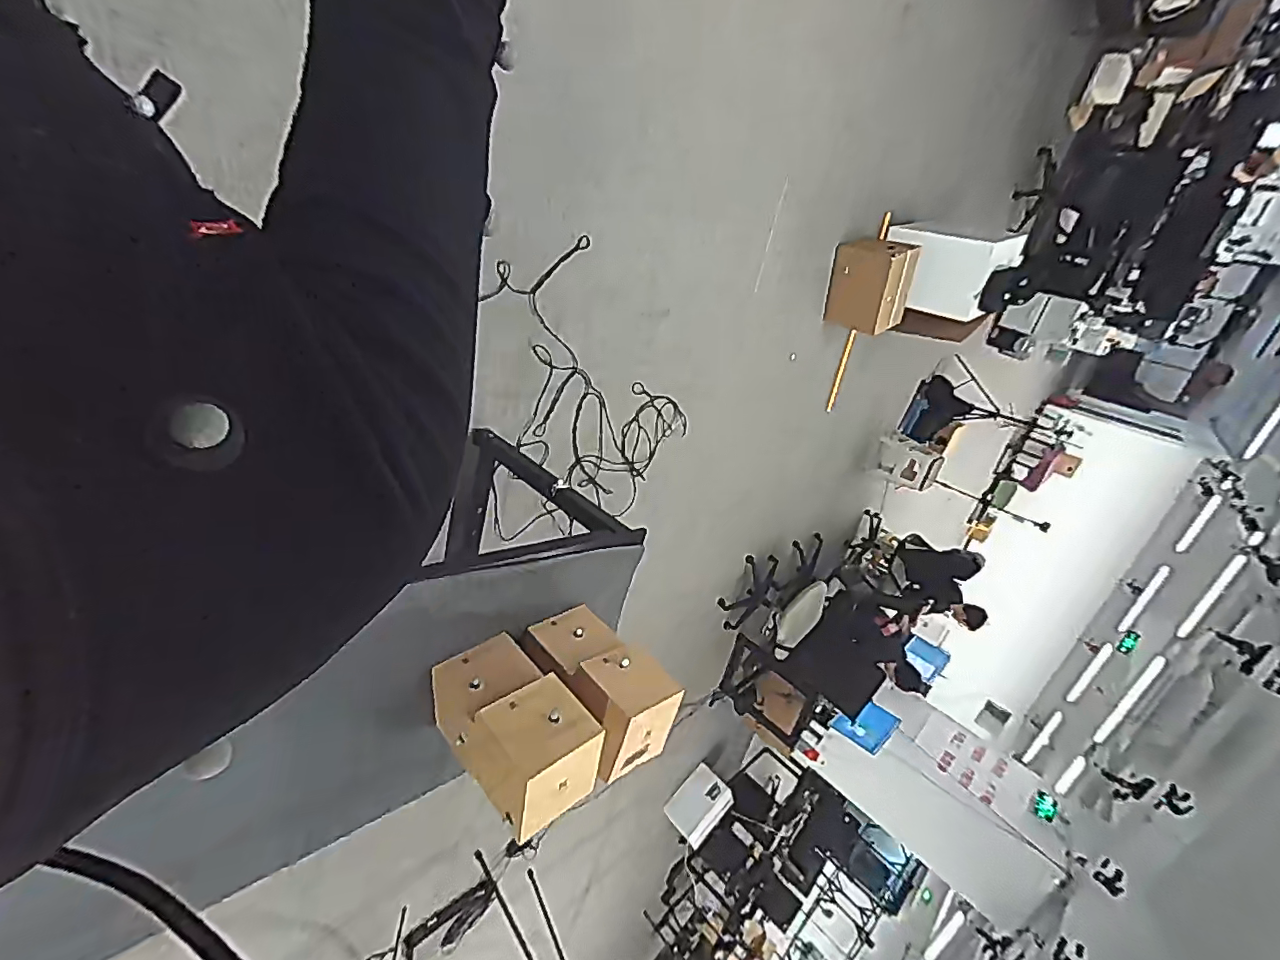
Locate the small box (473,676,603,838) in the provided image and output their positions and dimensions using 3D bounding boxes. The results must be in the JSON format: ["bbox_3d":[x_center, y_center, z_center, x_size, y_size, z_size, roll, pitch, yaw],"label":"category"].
[{"bbox_3d":[-0.192,0.490,0.991,0.168,0.176,0.179,-16,128,-41],"label":"small box"}]

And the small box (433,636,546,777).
[{"bbox_3d":[-0.307,0.446,1.099,0.168,0.176,0.179,-18,129,-40],"label":"small box"}]
